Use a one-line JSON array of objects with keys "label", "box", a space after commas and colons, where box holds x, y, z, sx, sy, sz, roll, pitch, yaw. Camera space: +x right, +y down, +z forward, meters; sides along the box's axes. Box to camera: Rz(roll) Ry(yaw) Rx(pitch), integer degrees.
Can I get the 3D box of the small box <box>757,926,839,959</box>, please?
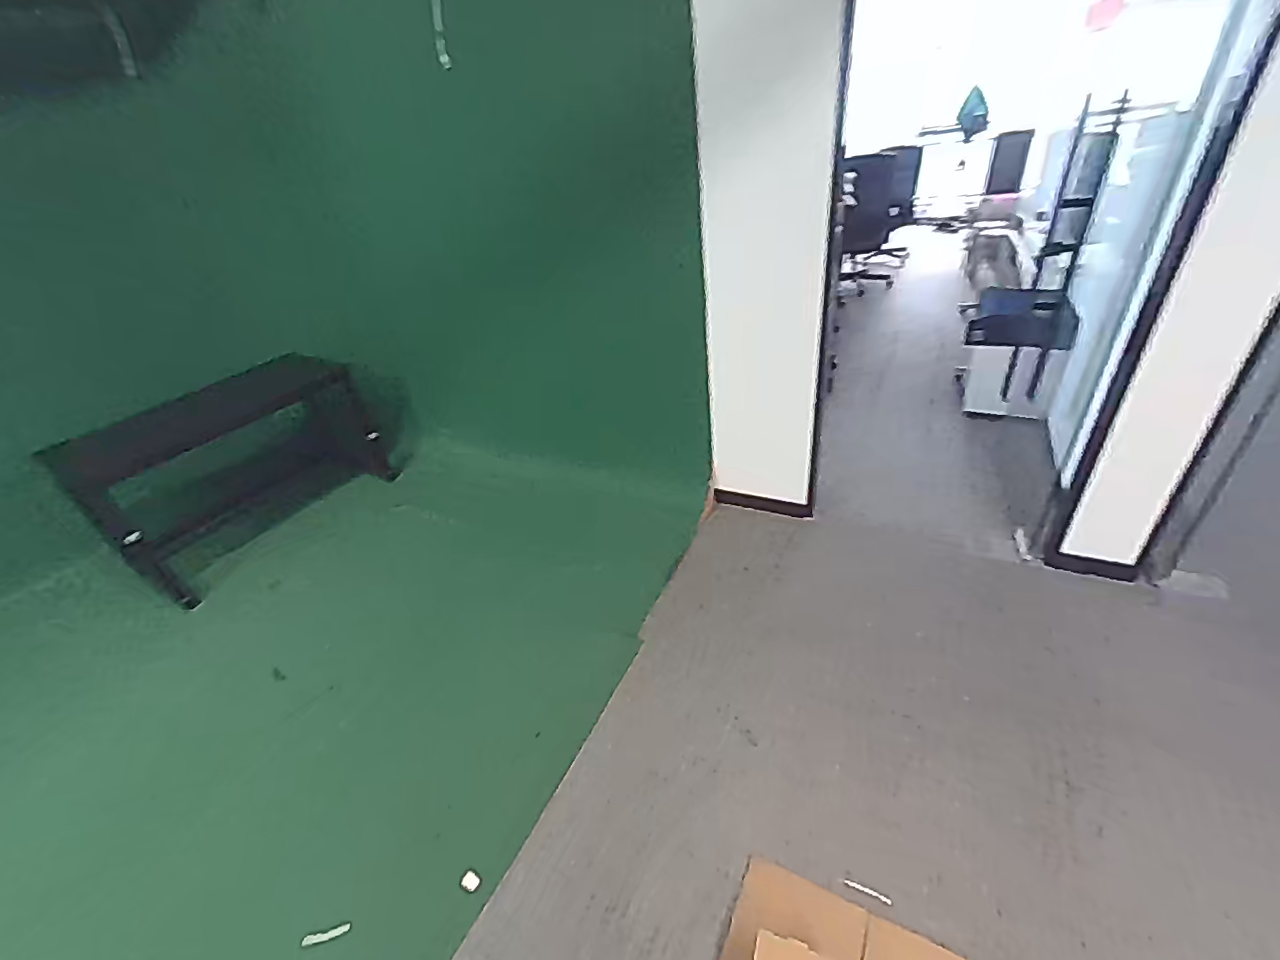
[{"label": "small box", "box": [0.317, 1.097, 1.131, 0.168, 0.176, 0.179, 8, 37, 22]}]
